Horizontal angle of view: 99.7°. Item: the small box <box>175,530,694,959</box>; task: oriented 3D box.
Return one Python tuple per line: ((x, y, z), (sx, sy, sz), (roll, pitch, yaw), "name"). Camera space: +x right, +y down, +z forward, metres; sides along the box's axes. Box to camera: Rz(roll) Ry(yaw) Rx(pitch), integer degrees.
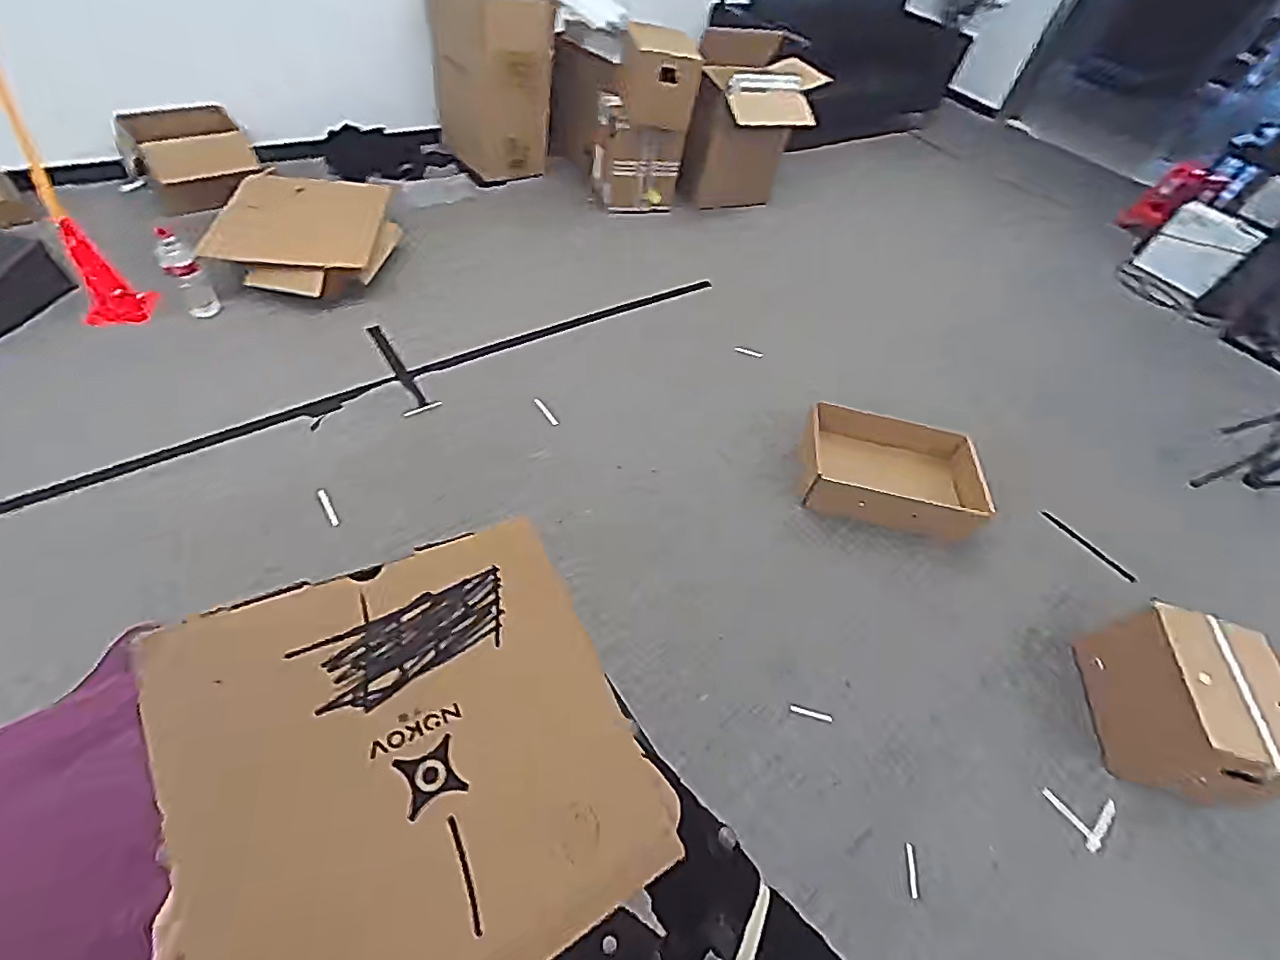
((-0.107, 0.156, 0.289), (0.168, 0.176, 0.179), (-17, 69, -30), "small box")
